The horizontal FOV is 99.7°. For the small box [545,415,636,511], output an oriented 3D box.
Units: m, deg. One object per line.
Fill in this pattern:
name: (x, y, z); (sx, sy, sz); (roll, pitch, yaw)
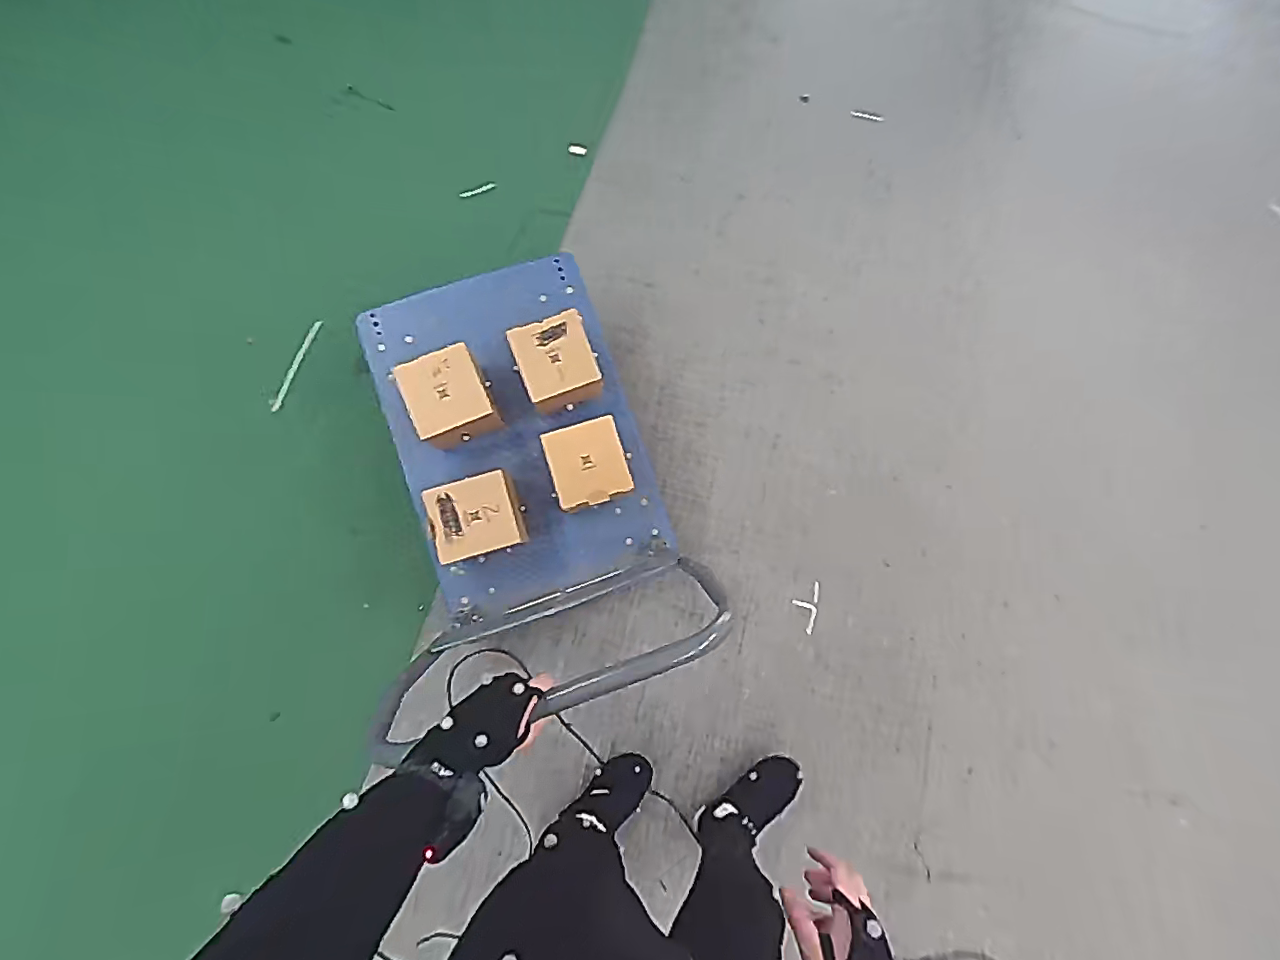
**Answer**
small box: (-0.116, -0.033, 1.263); (0.168, 0.176, 0.179); (-17, 86, -5)

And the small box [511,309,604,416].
small box: (-0.191, -0.271, 1.279); (0.168, 0.176, 0.179); (-21, 87, -5)

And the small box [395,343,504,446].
small box: (-0.431, -0.187, 1.254); (0.168, 0.176, 0.179); (-23, 86, -7)
